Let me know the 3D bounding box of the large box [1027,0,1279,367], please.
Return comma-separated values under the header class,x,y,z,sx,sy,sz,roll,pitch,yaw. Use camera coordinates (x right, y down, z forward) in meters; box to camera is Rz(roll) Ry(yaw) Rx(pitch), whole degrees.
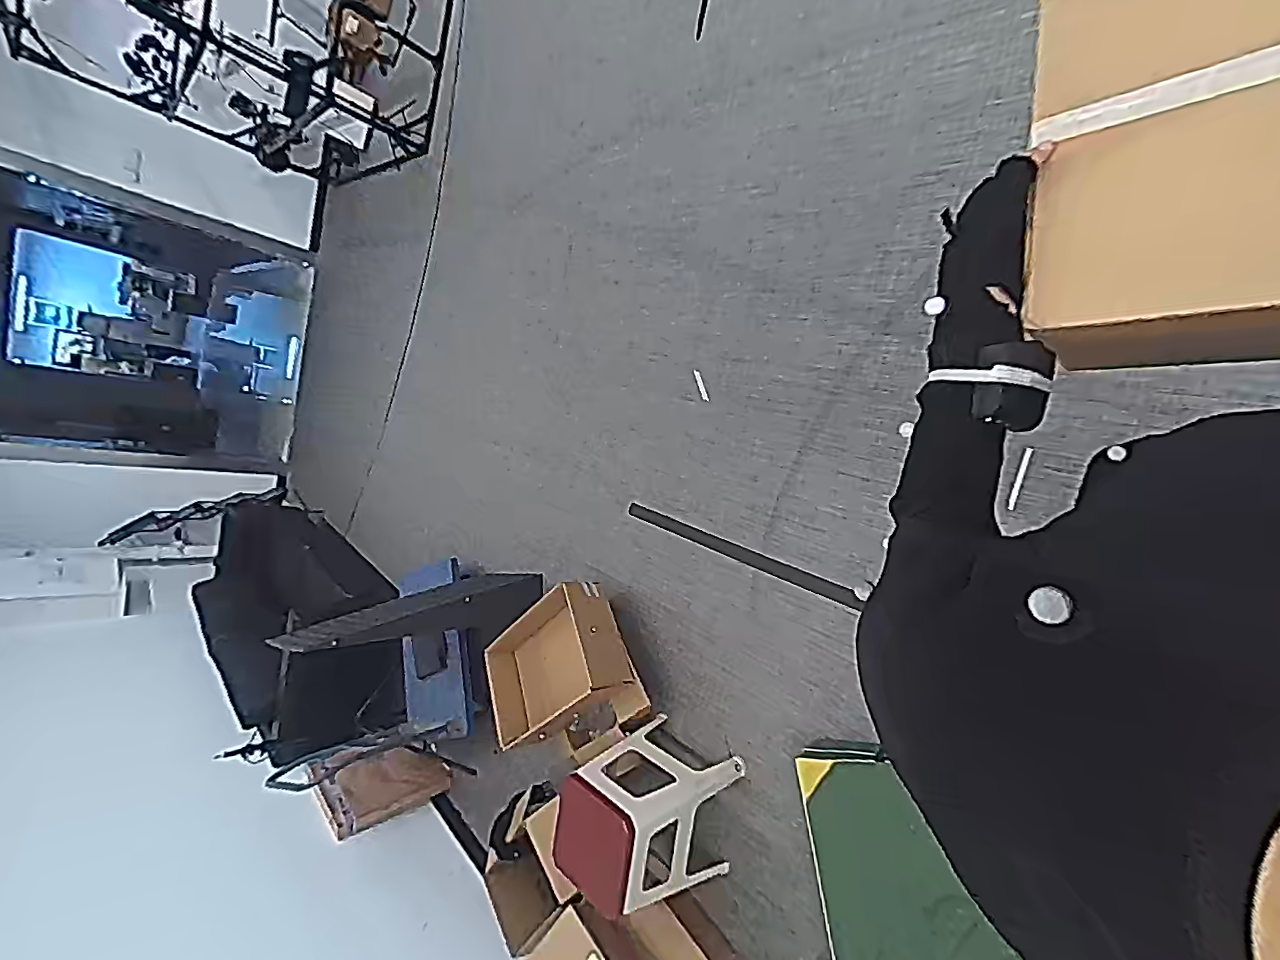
class,x,y,z,sx,sy,sz,roll,pitch,yaw
large box,0.578,-0.277,0.427,0.408,0.320,0.320,6,97,43
